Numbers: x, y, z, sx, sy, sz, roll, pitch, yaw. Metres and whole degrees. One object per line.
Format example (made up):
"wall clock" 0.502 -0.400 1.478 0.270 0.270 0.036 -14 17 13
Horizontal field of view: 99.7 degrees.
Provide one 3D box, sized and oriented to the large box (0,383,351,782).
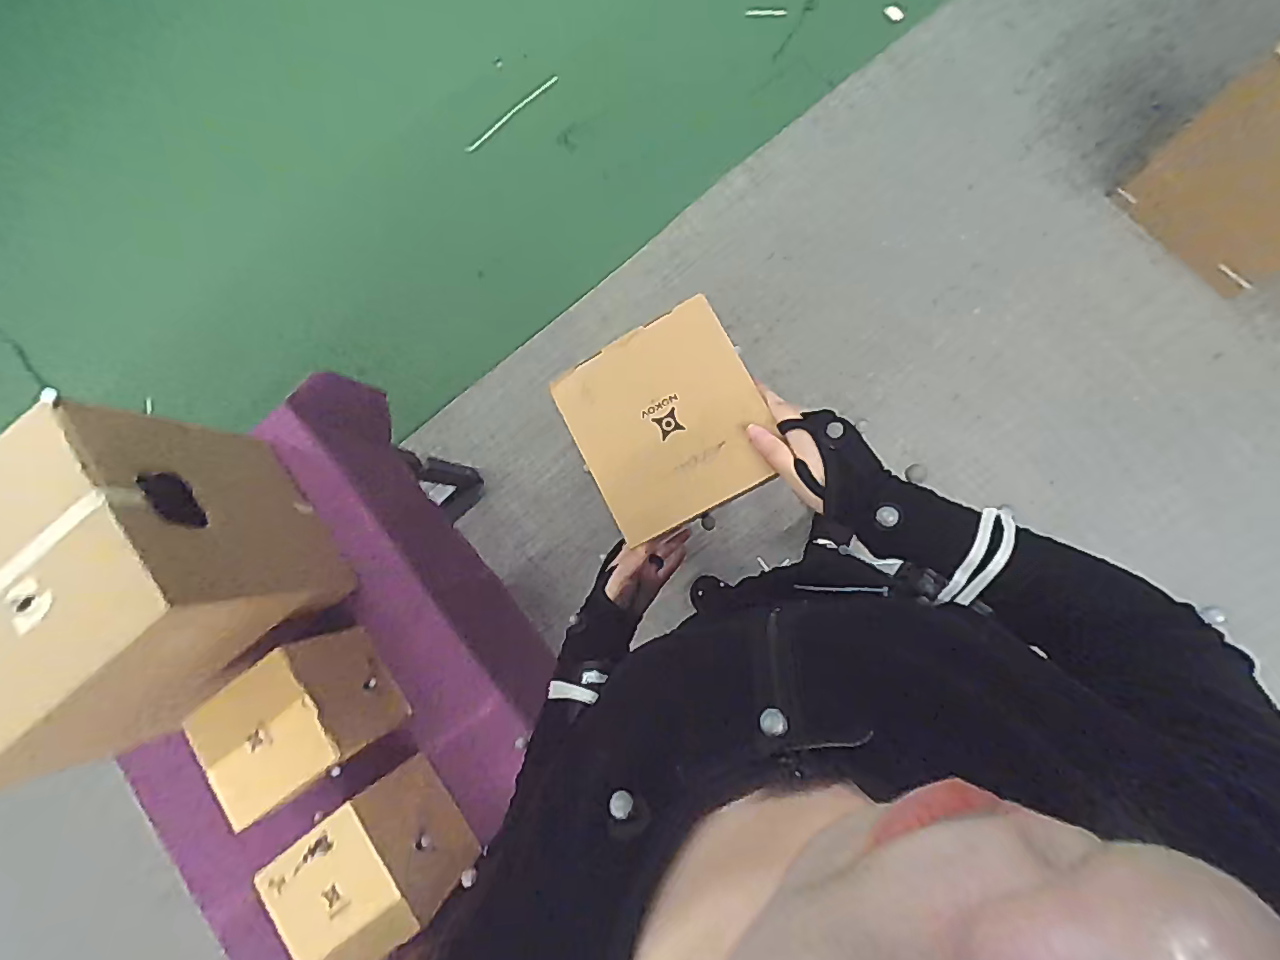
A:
"large box" -0.724 0.145 0.756 0.408 0.320 0.320 -39 80 1
